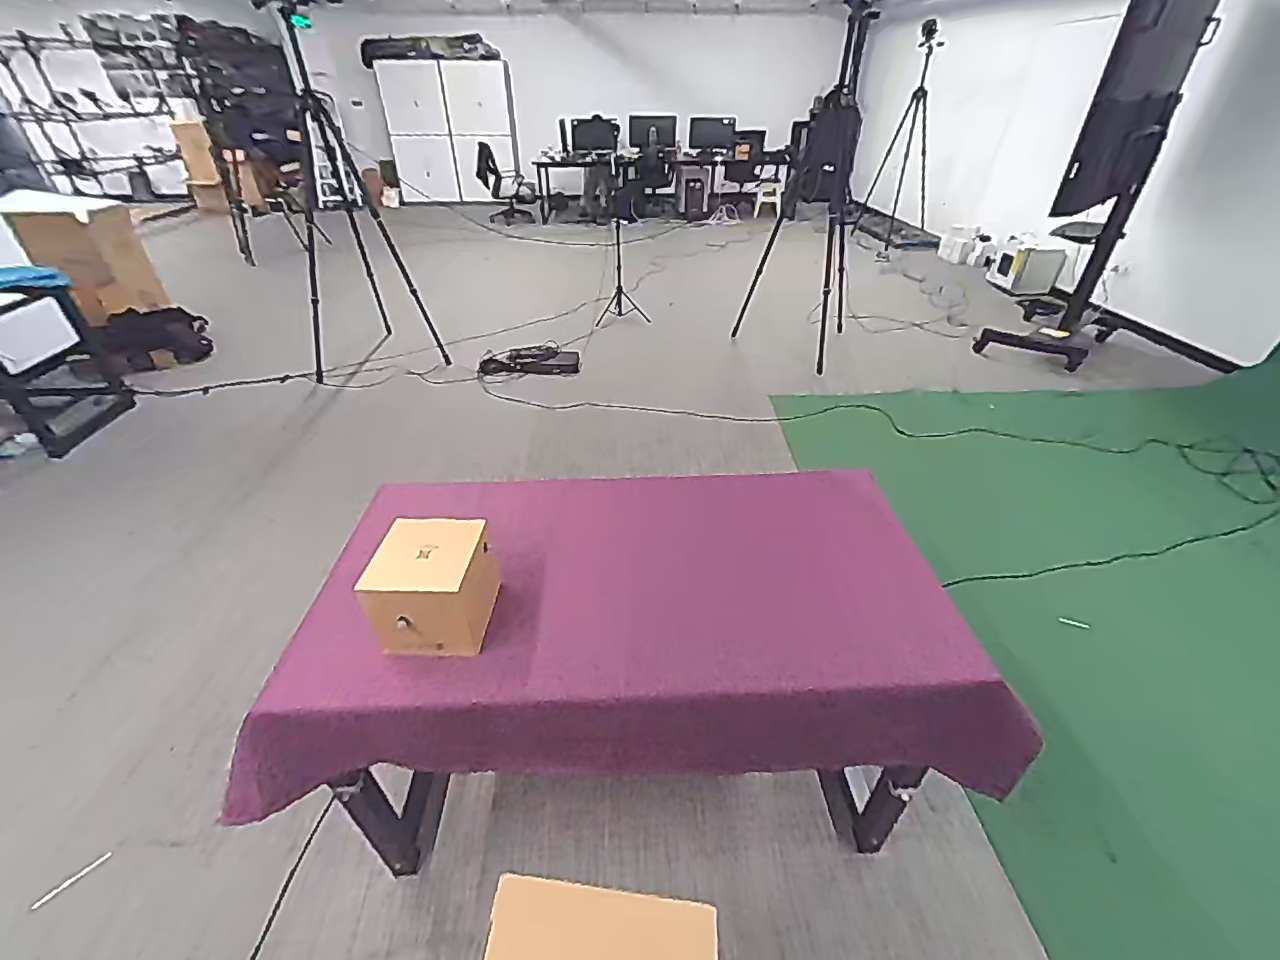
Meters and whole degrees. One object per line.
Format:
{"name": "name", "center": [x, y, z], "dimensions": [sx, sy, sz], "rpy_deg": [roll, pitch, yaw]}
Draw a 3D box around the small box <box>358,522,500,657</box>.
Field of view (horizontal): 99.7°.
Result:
{"name": "small box", "center": [-0.355, 0.193, 0.951], "dimensions": [0.168, 0.176, 0.179], "rpy_deg": [0, 34, 2]}
